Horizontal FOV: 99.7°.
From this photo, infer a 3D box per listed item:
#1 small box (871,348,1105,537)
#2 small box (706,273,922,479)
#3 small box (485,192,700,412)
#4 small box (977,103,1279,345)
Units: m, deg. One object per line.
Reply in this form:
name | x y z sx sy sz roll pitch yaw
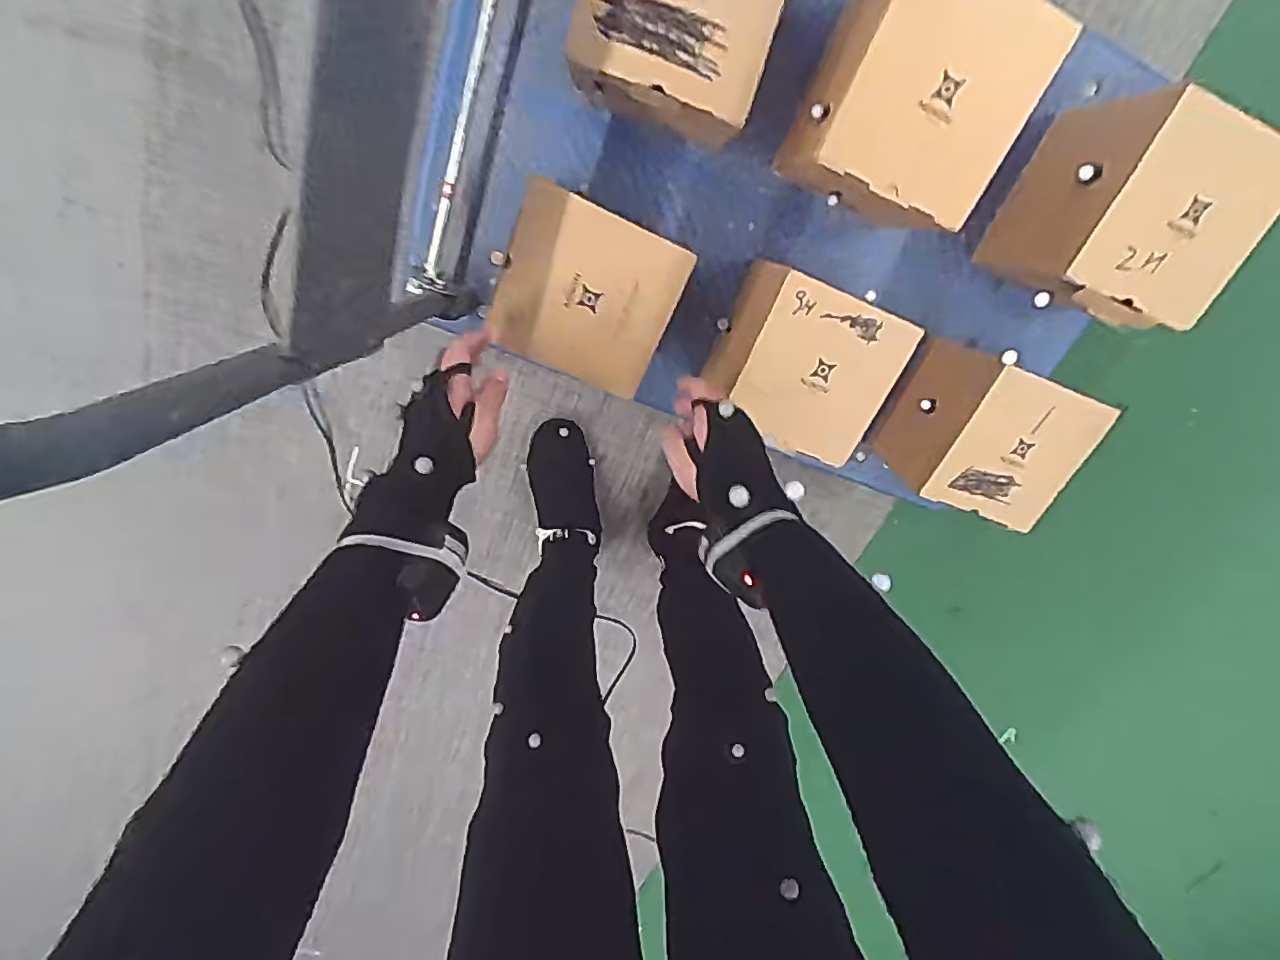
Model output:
small box | 0.442 -0.057 0.728 0.168 0.176 0.179 18 113 -11
small box | 0.192 -0.133 0.664 0.168 0.176 0.179 20 113 -12
small box | -0.054 -0.205 0.623 0.179 0.176 0.168 21 113 -13
small box | 0.532 -0.277 0.608 0.168 0.176 0.179 19 113 -9
